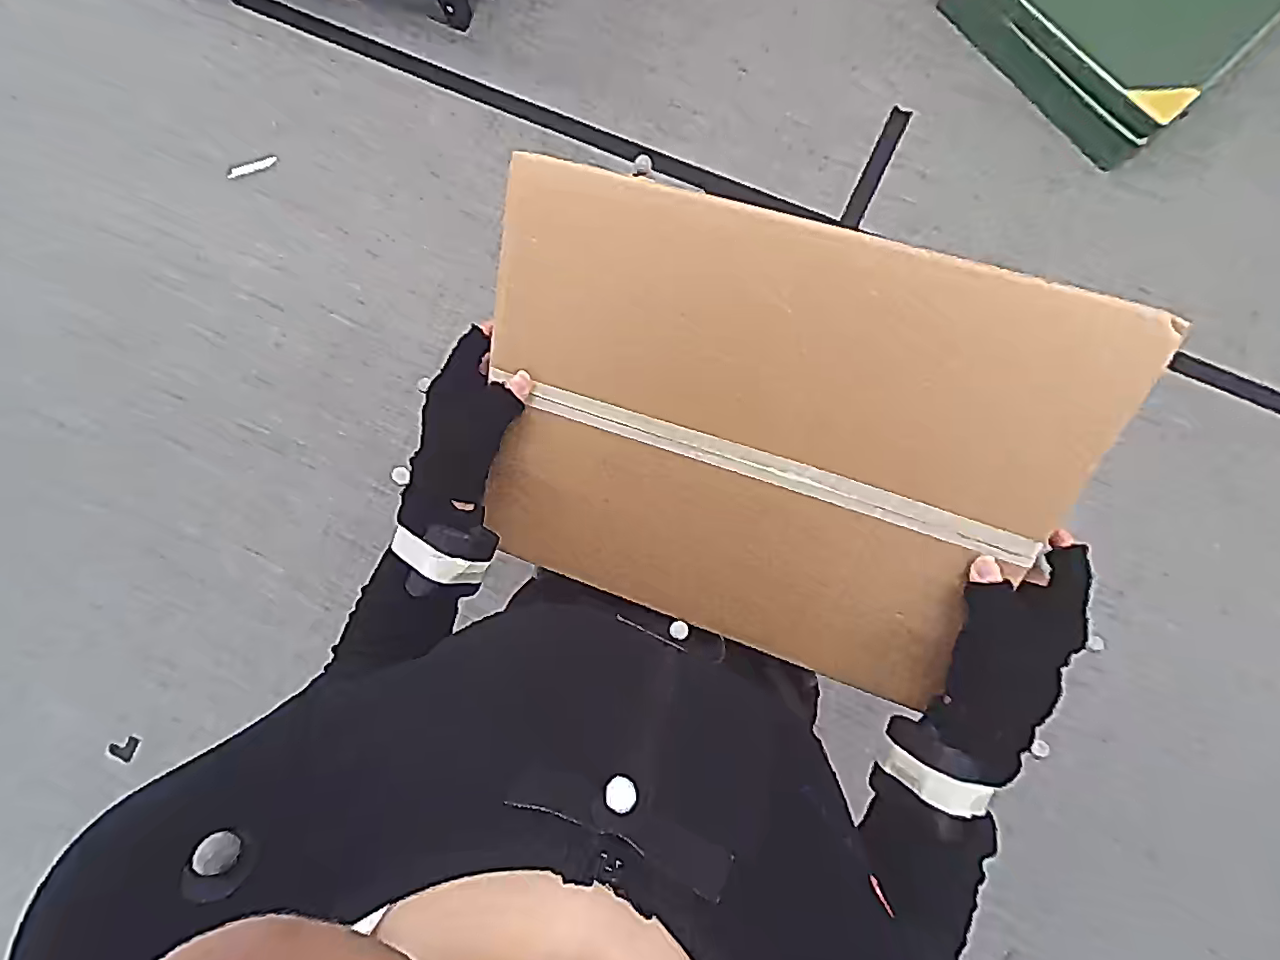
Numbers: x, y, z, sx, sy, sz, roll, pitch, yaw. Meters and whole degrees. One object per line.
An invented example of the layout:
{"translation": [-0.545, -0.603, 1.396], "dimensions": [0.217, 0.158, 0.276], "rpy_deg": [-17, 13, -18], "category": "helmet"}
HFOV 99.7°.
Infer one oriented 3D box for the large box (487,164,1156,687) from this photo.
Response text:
{"translation": [0.115, -0.080, 0.533], "dimensions": [0.408, 0.320, 0.320], "rpy_deg": [19, 118, 9], "category": "large box"}
